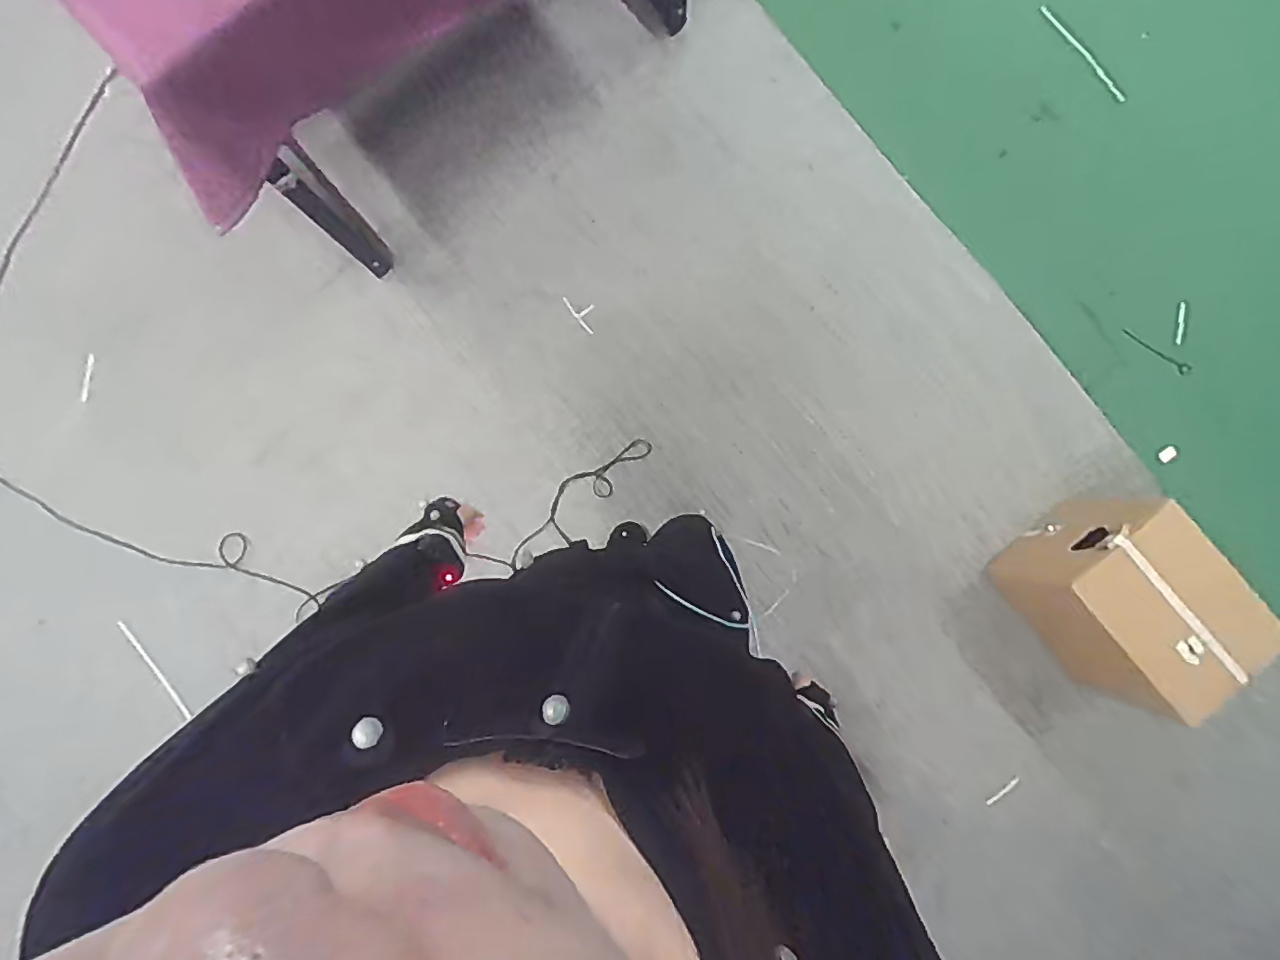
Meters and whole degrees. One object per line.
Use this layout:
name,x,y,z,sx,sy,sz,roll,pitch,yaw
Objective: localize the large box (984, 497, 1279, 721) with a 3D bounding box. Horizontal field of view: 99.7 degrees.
large box,1.182,0.291,1.343,0.320,0.320,0.408,-39,89,-2
